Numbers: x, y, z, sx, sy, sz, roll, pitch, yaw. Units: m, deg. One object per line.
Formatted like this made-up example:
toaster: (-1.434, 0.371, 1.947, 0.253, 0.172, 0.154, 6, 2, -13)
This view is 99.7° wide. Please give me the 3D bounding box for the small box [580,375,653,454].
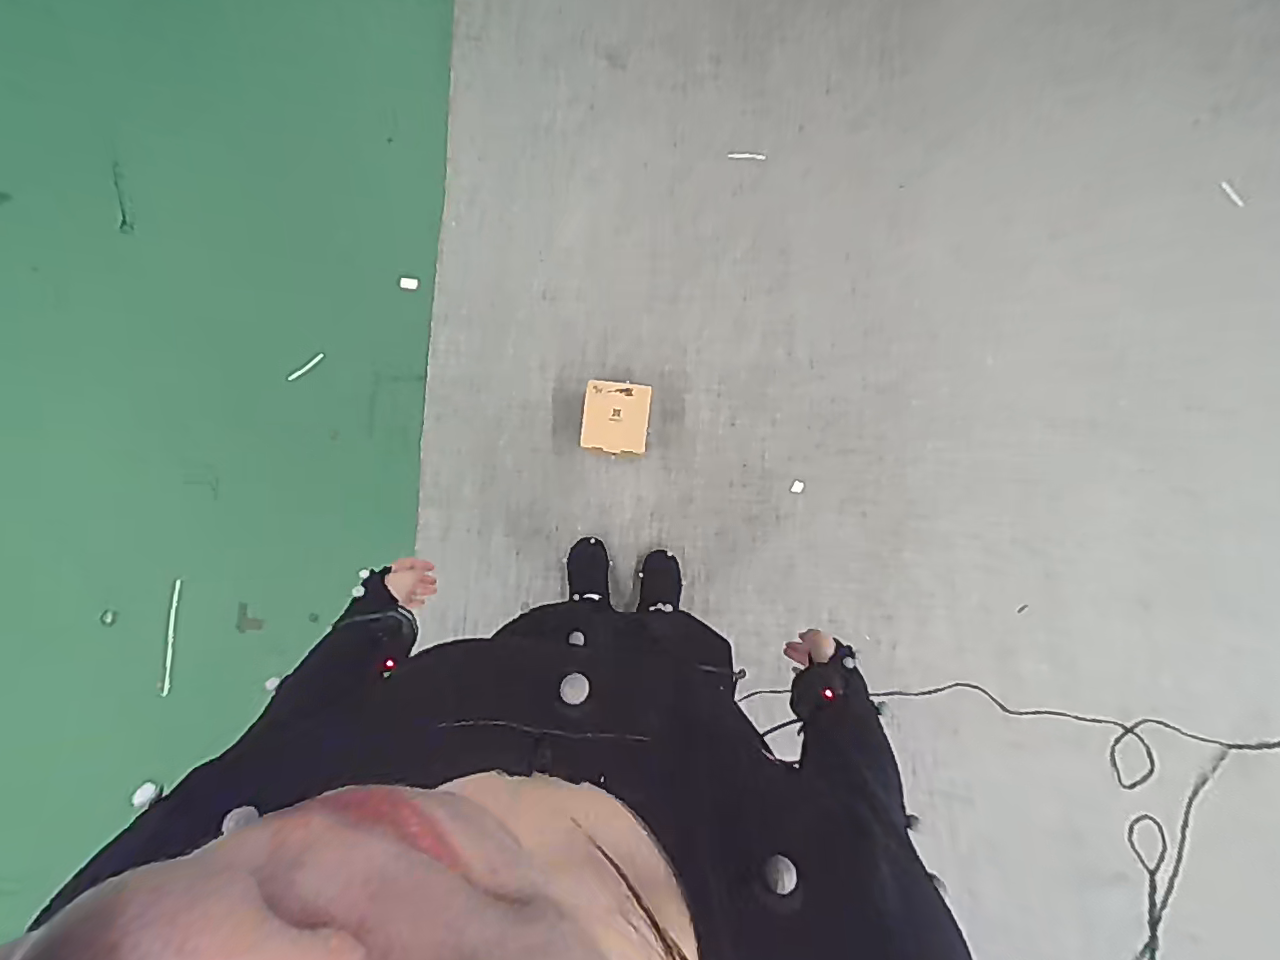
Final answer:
small box: (-0.057, -0.166, 1.429, 0.168, 0.176, 0.179, 7, 88, 0)
